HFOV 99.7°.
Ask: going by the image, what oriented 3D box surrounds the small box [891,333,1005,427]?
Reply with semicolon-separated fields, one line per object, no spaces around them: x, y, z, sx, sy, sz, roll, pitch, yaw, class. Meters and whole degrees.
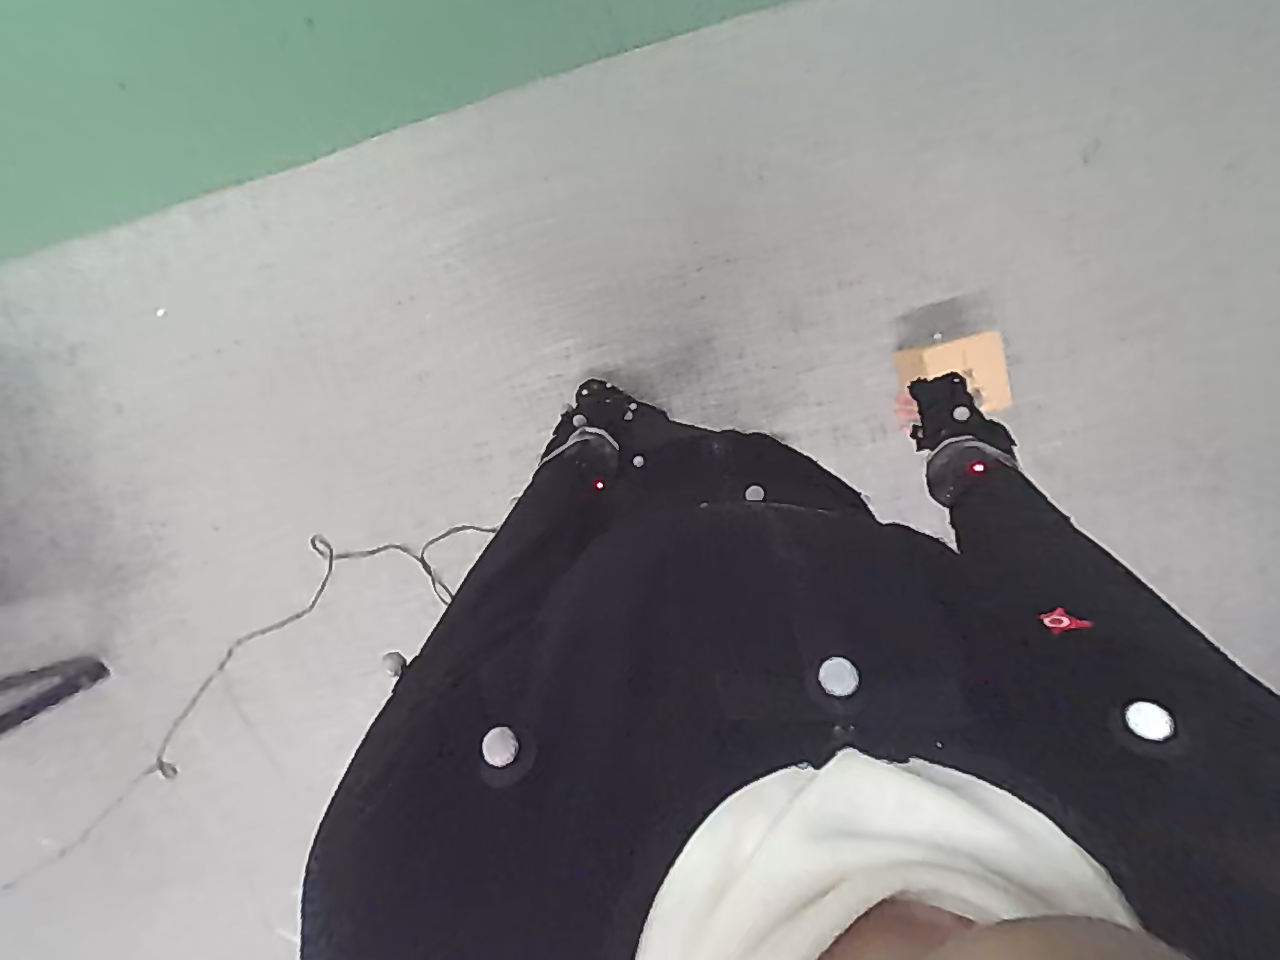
0.716;-0.236;1.272;0.168;0.176;0.179;-15;99;6;small box
